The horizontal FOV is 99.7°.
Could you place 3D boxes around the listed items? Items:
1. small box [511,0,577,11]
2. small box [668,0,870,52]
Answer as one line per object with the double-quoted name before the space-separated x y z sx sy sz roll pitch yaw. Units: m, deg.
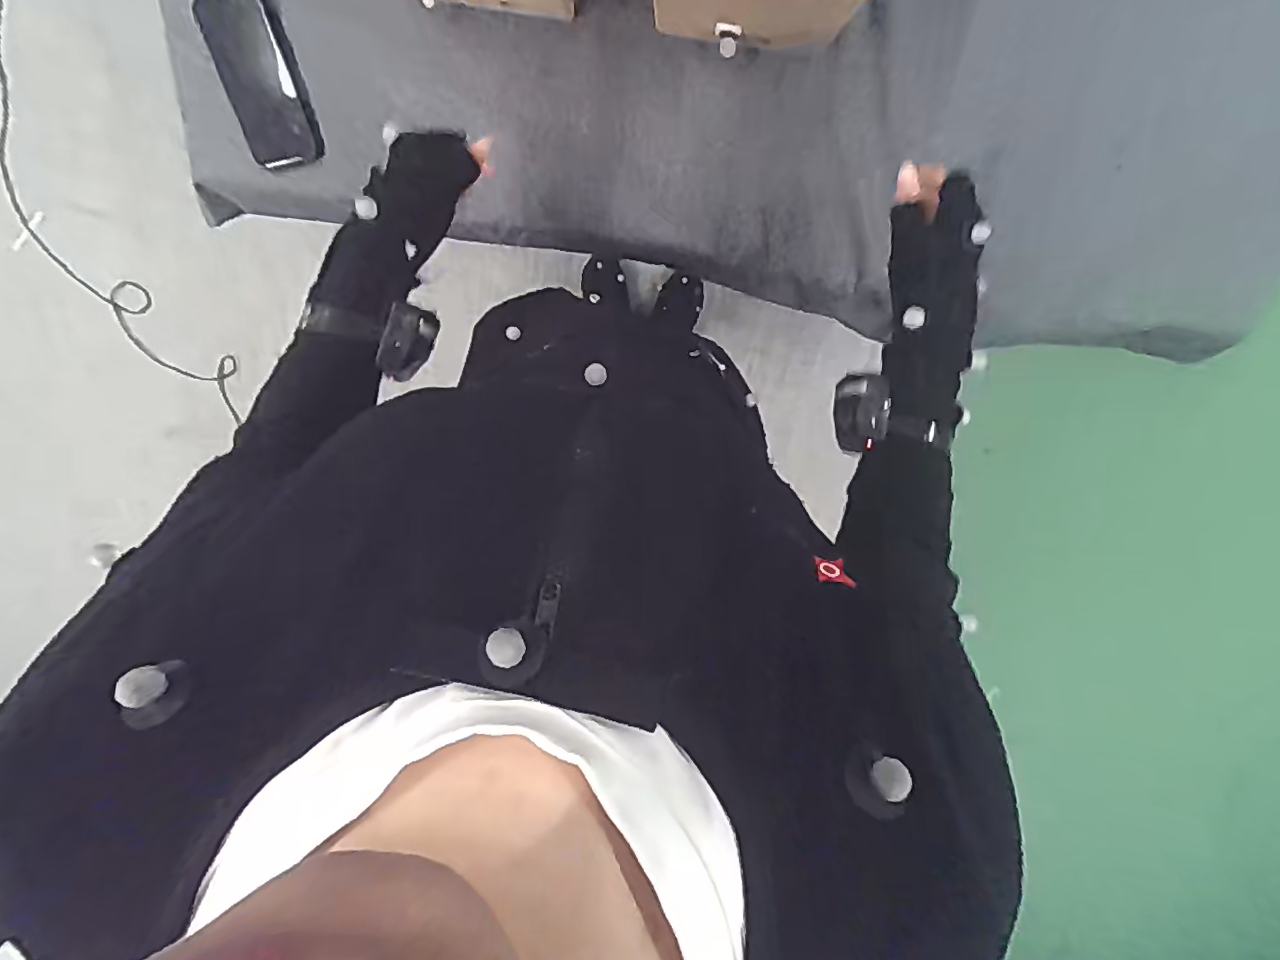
"small box" -0.133 -0.514 0.425 0.168 0.176 0.179 8 114 -1
"small box" 0.110 -0.480 0.431 0.168 0.176 0.179 7 116 1
